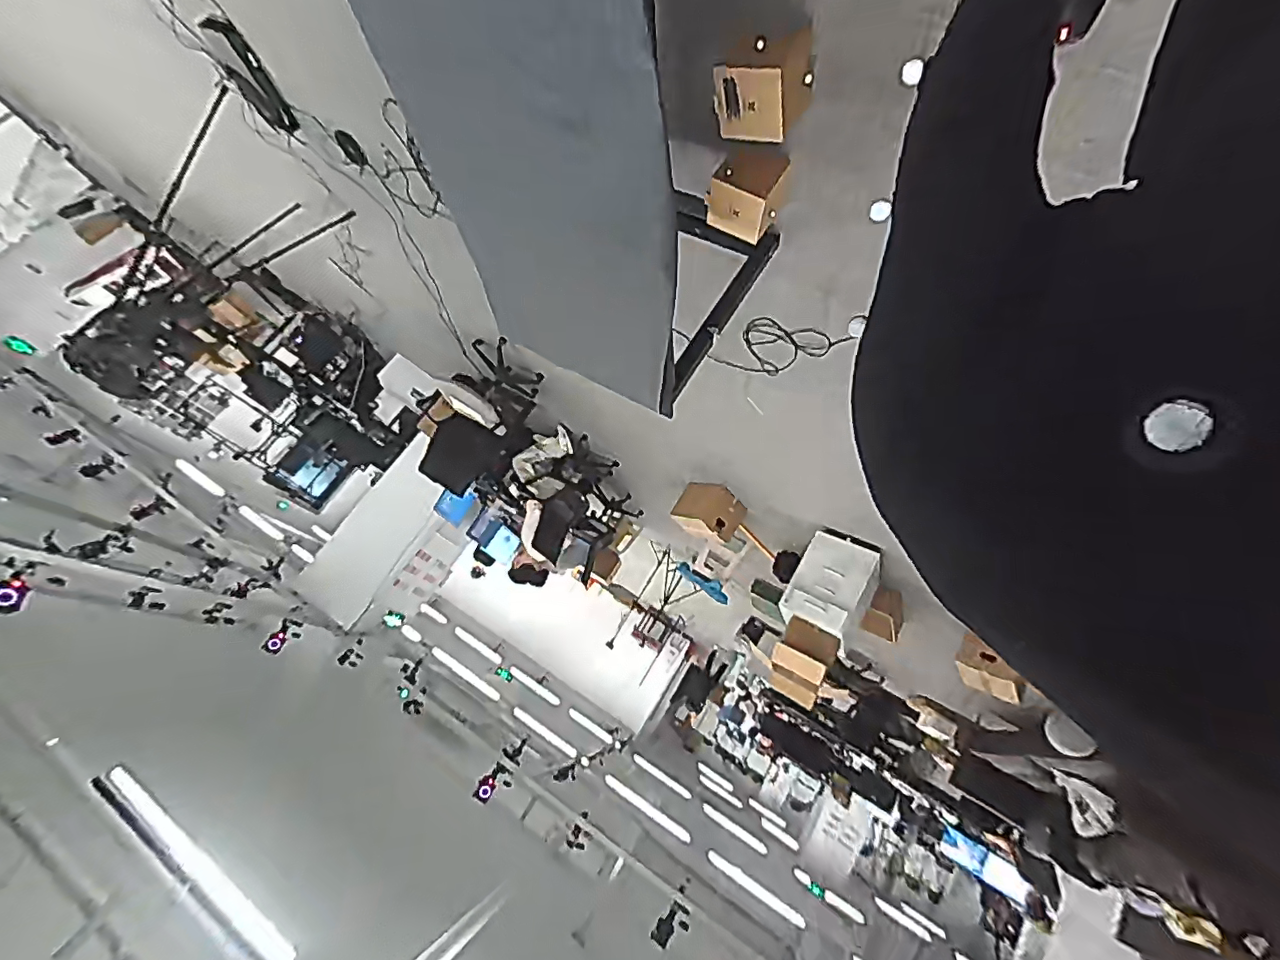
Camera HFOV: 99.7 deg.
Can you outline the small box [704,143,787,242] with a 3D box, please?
[{"bbox_3d":[0.311,-0.854,1.600,0.179,0.176,0.168,30,163,12],"label":"small box"}]
